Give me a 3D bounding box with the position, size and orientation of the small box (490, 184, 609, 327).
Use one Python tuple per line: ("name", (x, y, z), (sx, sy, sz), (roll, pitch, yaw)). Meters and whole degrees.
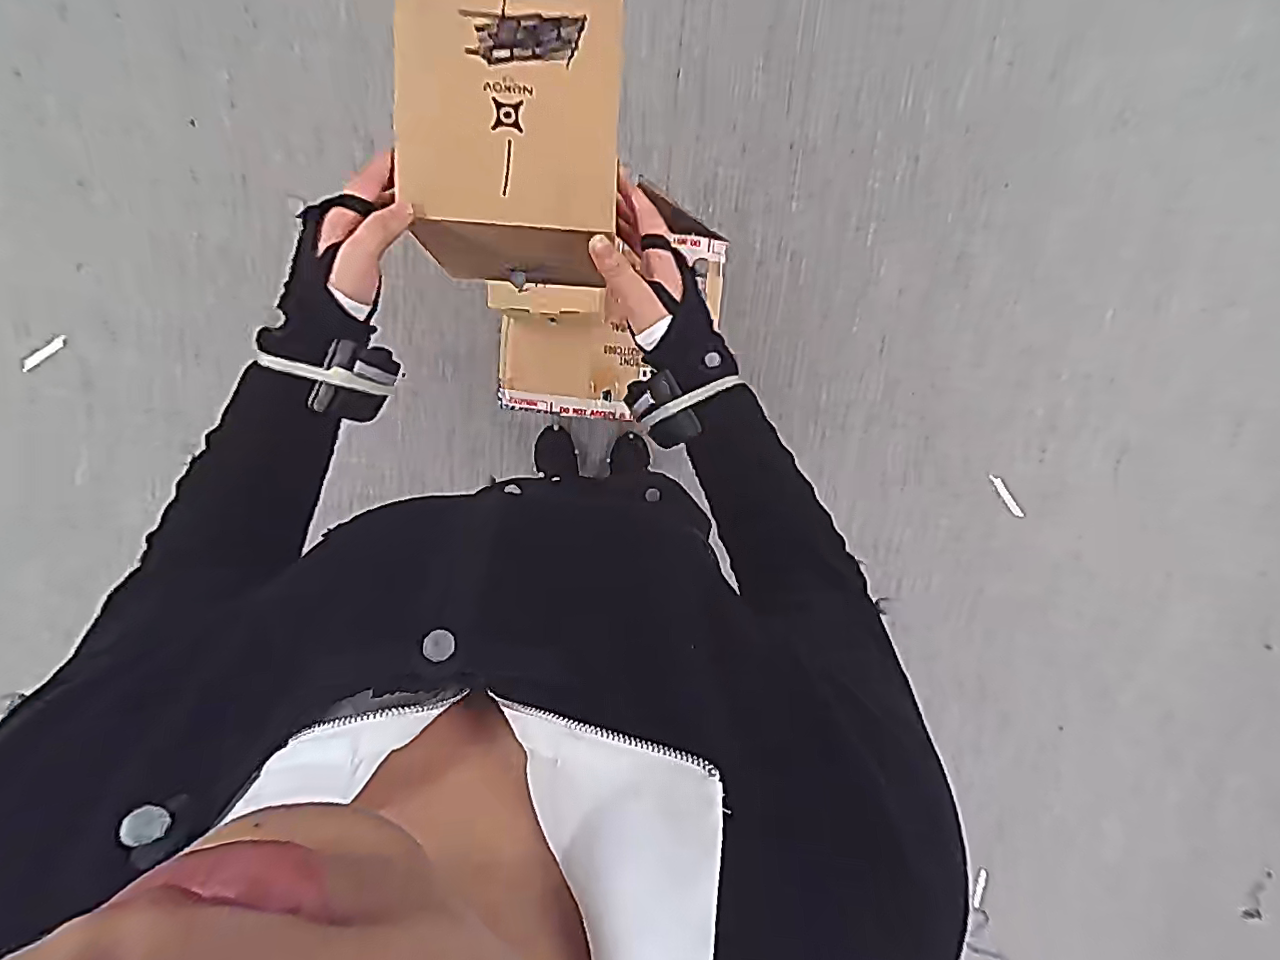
("small box", (-0.136, -0.344, 0.858), (0.168, 0.176, 0.179), (2, 102, -1))
